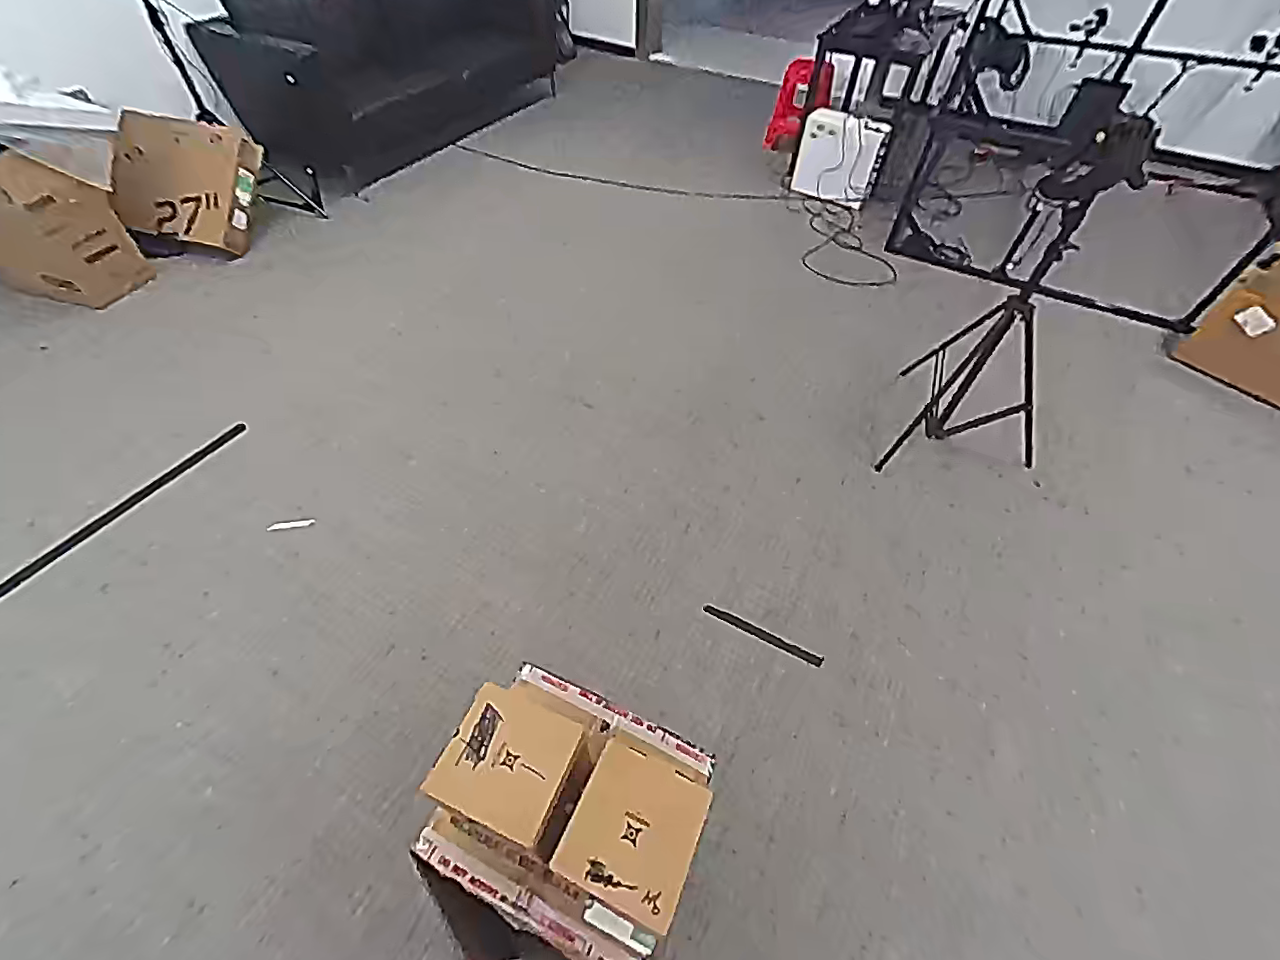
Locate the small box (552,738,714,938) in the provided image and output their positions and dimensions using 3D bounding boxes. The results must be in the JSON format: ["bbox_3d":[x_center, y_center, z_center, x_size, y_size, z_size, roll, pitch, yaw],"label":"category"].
[{"bbox_3d":[-0.012,0.512,0.776,0.168,0.176,0.179,22,52,13],"label":"small box"}]

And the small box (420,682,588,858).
[{"bbox_3d":[-0.193,0.444,0.823,0.179,0.176,0.168,18,51,13],"label":"small box"}]
